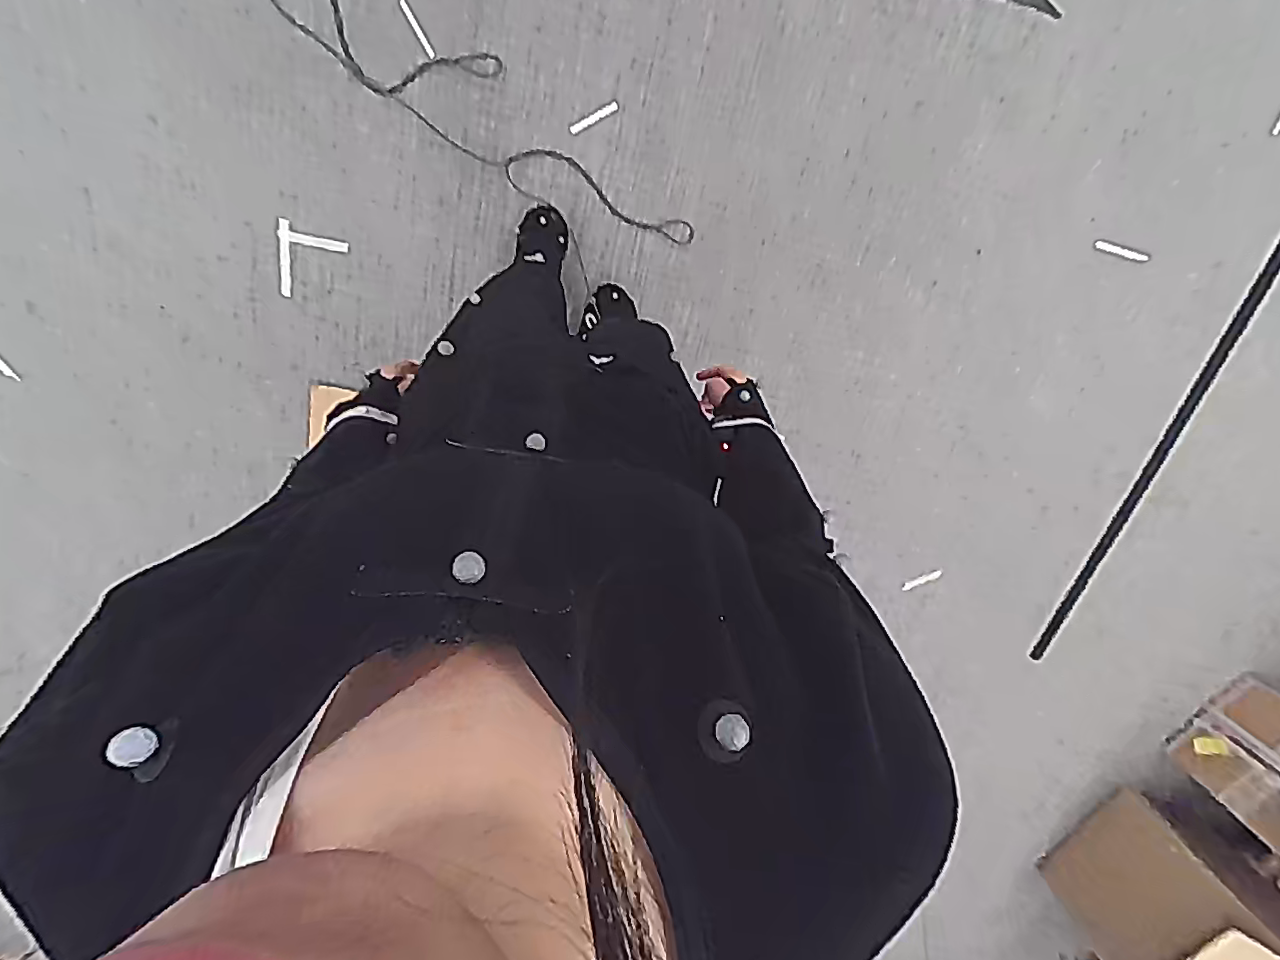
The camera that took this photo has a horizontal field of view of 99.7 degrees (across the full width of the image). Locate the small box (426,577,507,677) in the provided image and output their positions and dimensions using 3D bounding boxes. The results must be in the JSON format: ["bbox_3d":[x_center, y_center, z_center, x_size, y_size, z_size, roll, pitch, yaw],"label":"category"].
[{"bbox_3d":[-0.437,0.373,1.381,0.168,0.176,0.179,6,111,-7],"label":"small box"}]
